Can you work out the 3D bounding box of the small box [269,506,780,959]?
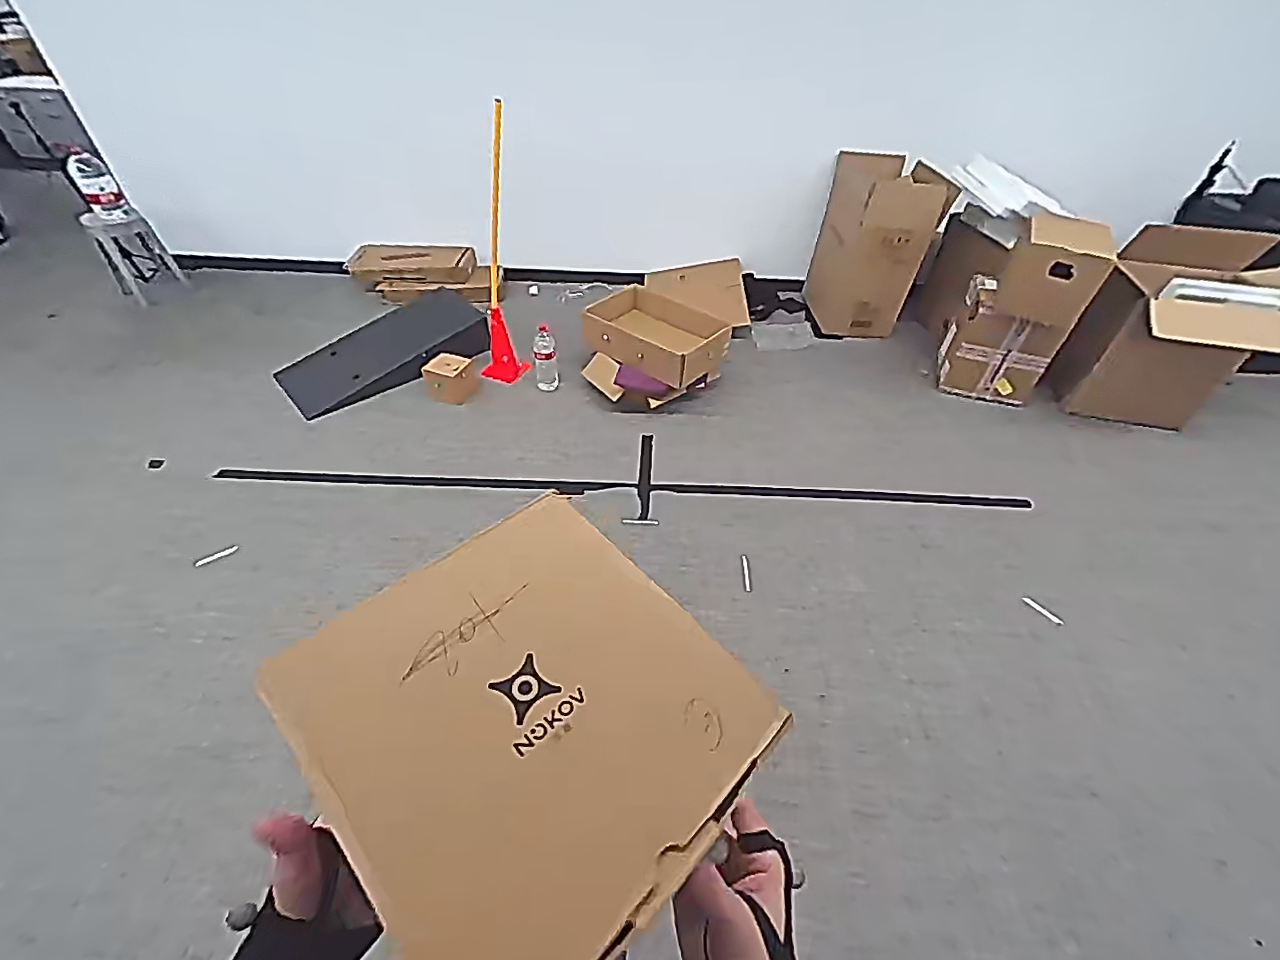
[{"bbox_3d":[-0.057,0.155,0.305,0.179,0.176,0.168,37,52,24],"label":"small box"}]
